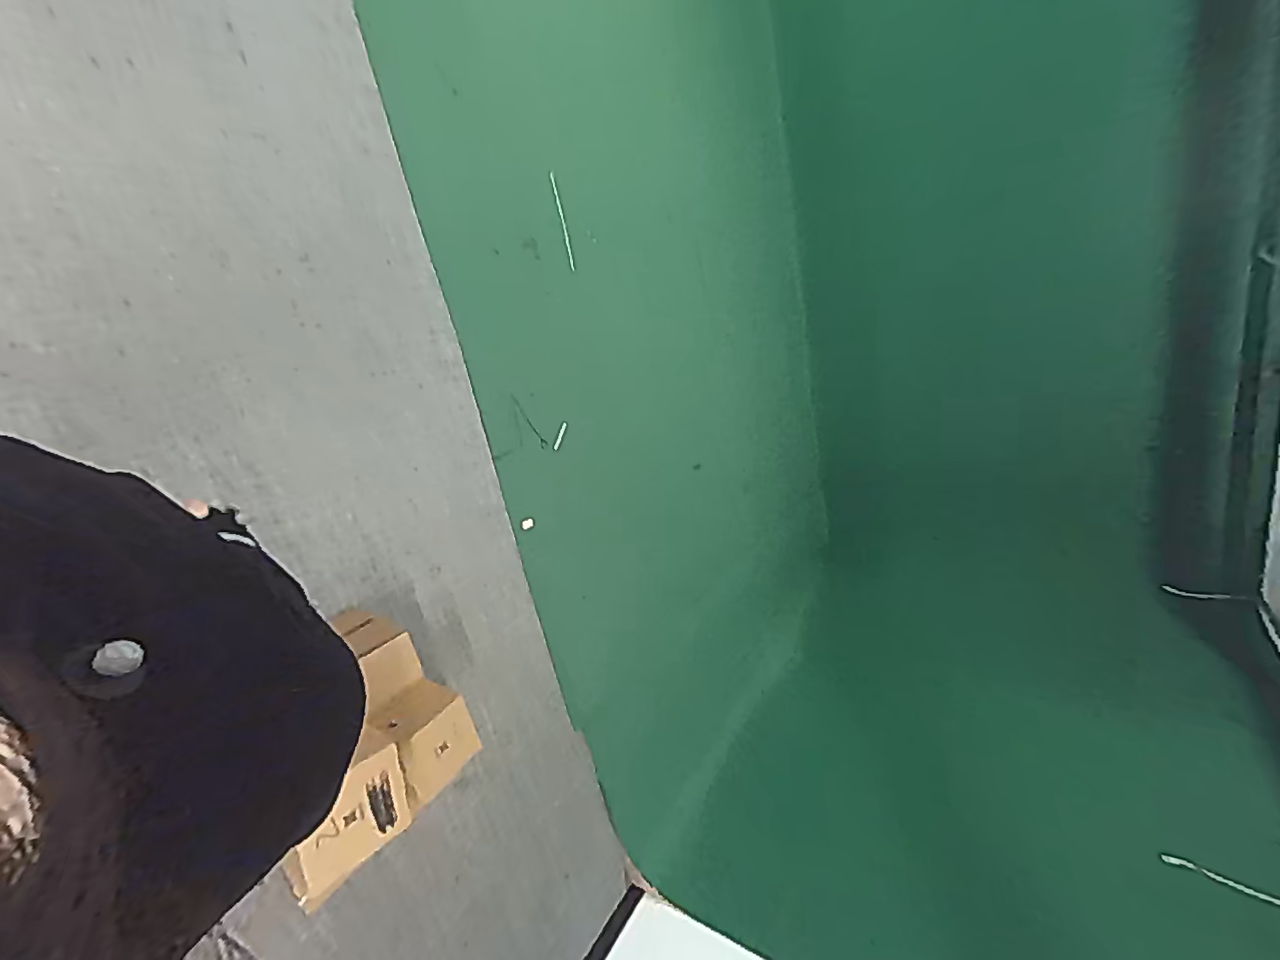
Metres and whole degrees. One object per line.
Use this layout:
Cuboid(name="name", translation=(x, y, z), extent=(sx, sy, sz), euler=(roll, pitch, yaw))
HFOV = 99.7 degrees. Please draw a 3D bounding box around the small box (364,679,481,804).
Cuboid(name="small box", translation=(-0.511, 0.598, 1.259), extent=(0.179, 0.176, 0.168), euler=(-35, 120, -48))
